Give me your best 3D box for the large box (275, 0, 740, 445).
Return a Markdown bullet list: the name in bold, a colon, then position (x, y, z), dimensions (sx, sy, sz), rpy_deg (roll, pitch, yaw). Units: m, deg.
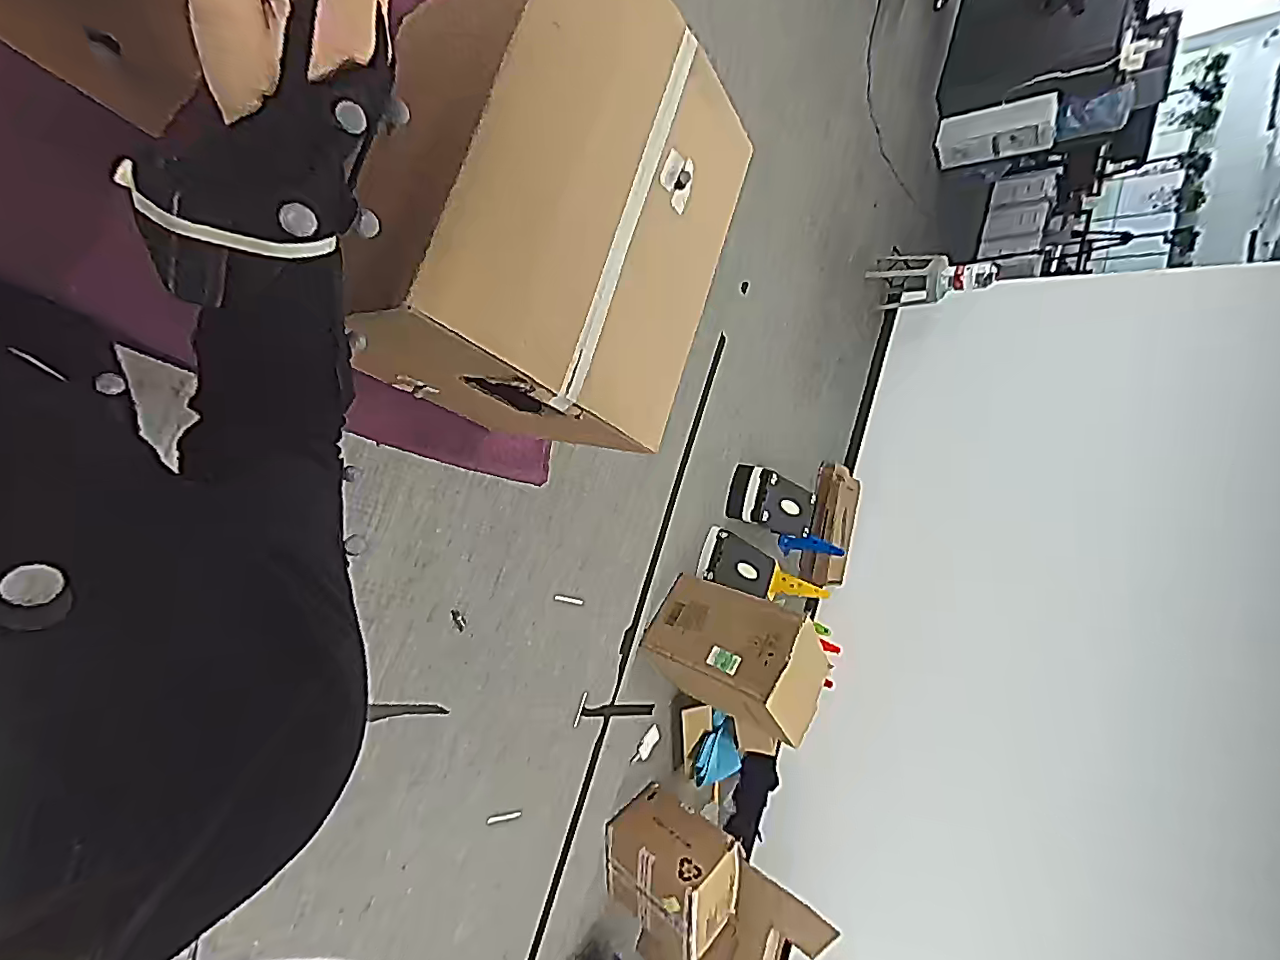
- **large box**: position (-0.132, -0.284, 0.610), dimensions (0.320, 0.320, 0.408), rpy_deg (27, 76, -51)
